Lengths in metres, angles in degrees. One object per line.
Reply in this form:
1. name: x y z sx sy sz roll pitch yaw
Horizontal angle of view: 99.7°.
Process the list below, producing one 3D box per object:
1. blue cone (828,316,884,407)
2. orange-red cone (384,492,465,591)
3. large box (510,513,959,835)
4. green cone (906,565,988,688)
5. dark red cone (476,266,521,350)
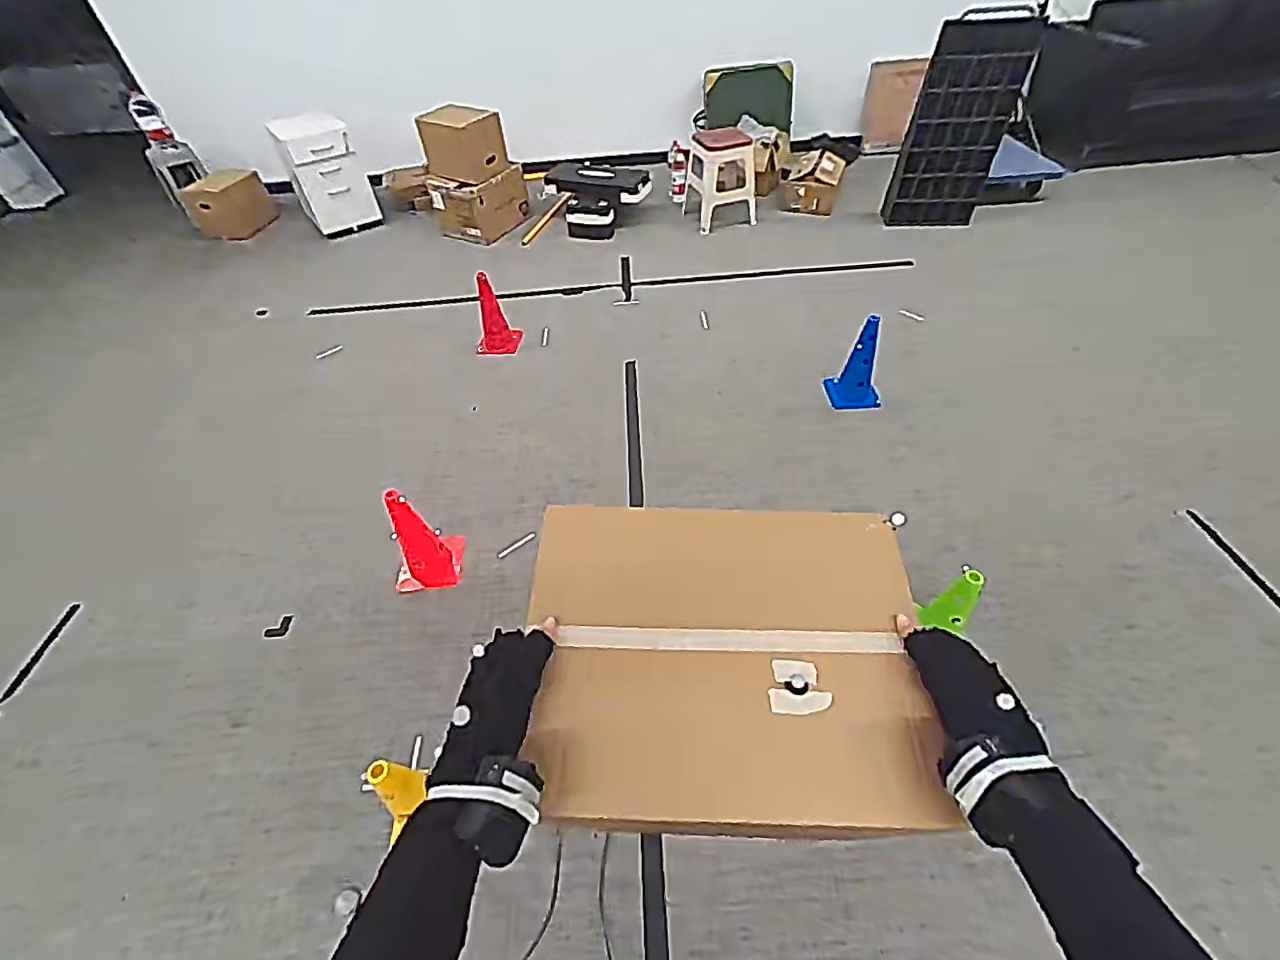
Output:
1. blue cone: 0.894 -0.481 2.165 0.192 0.380 0.193 -1 48 2
2. orange-red cone: -0.701 0.166 1.678 0.198 0.360 0.199 -7 49 -1
3. large box: 0.083 0.253 0.677 0.408 0.320 0.320 1 55 1
4. green cone: 0.799 0.341 1.393 0.202 0.368 0.200 -33 54 -25
5. dark red cone: -0.701 -0.807 2.540 0.201 0.394 0.202 0 48 4
